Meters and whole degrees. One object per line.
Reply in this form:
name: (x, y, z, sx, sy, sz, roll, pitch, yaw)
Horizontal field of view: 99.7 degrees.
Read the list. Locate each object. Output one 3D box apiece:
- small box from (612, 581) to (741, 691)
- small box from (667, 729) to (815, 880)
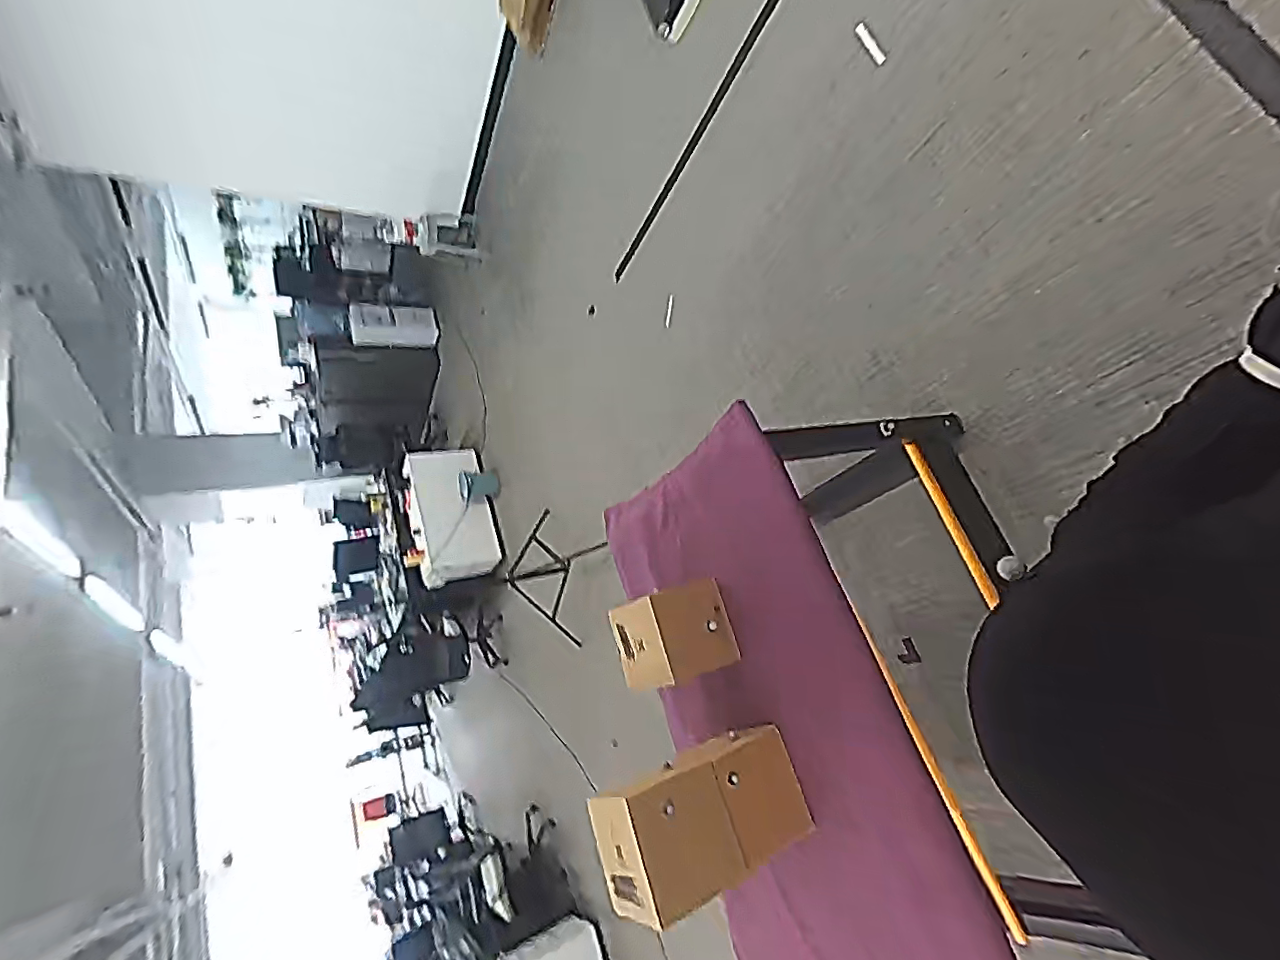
small box: (0.072, 0.314, 1.088, 0.179, 0.176, 0.168, -39, 64, 52)
small box: (0.180, 0.572, 0.973, 0.168, 0.176, 0.179, -45, 58, 51)
